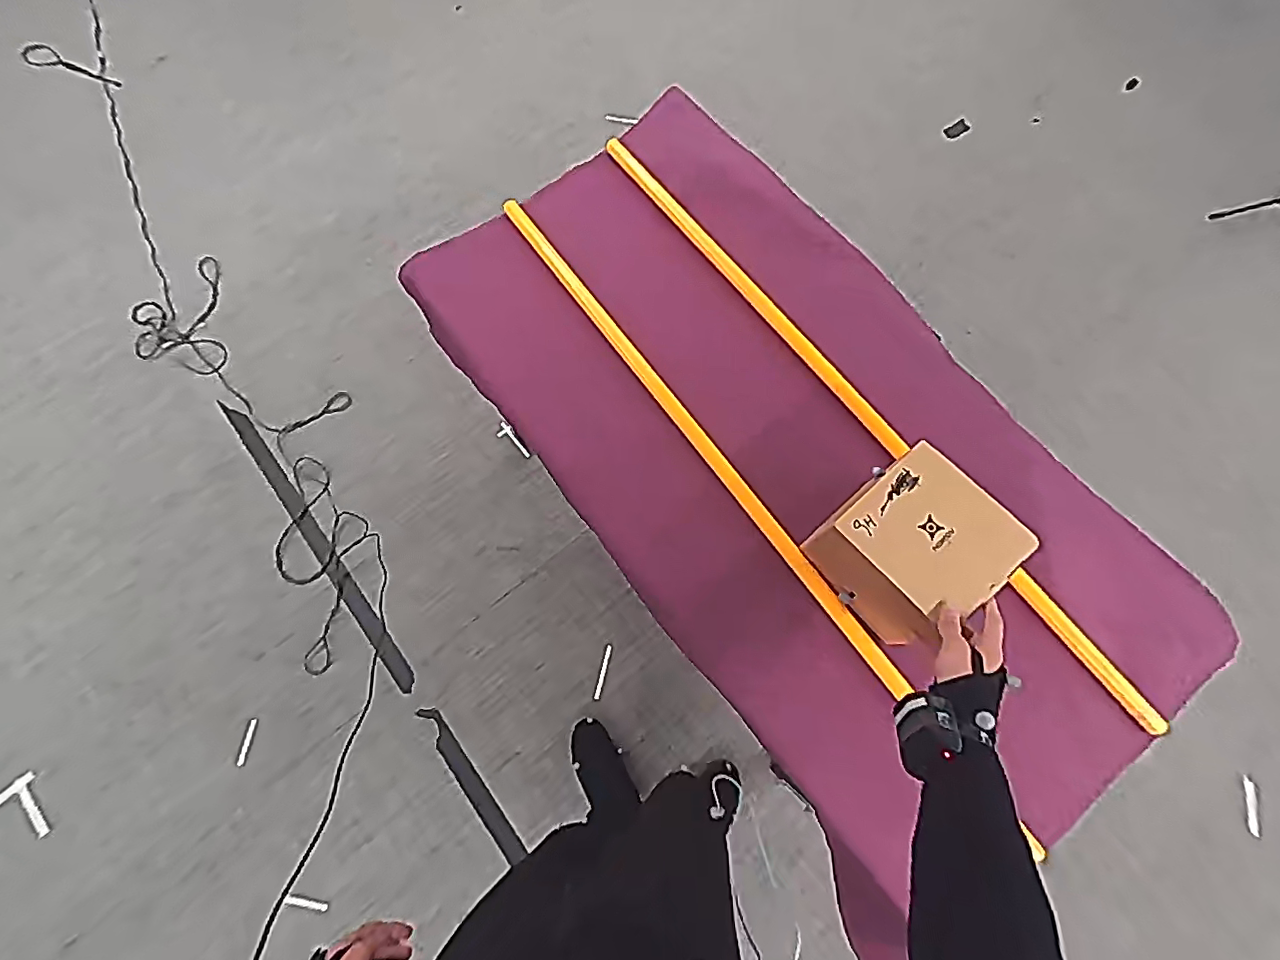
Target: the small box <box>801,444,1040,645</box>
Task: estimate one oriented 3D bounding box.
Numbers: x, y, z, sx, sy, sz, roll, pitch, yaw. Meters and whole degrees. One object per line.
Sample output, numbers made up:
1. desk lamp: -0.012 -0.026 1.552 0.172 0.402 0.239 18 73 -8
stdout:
1. small box: 0.341 0.089 0.695 0.168 0.176 0.179 -39 76 -11
